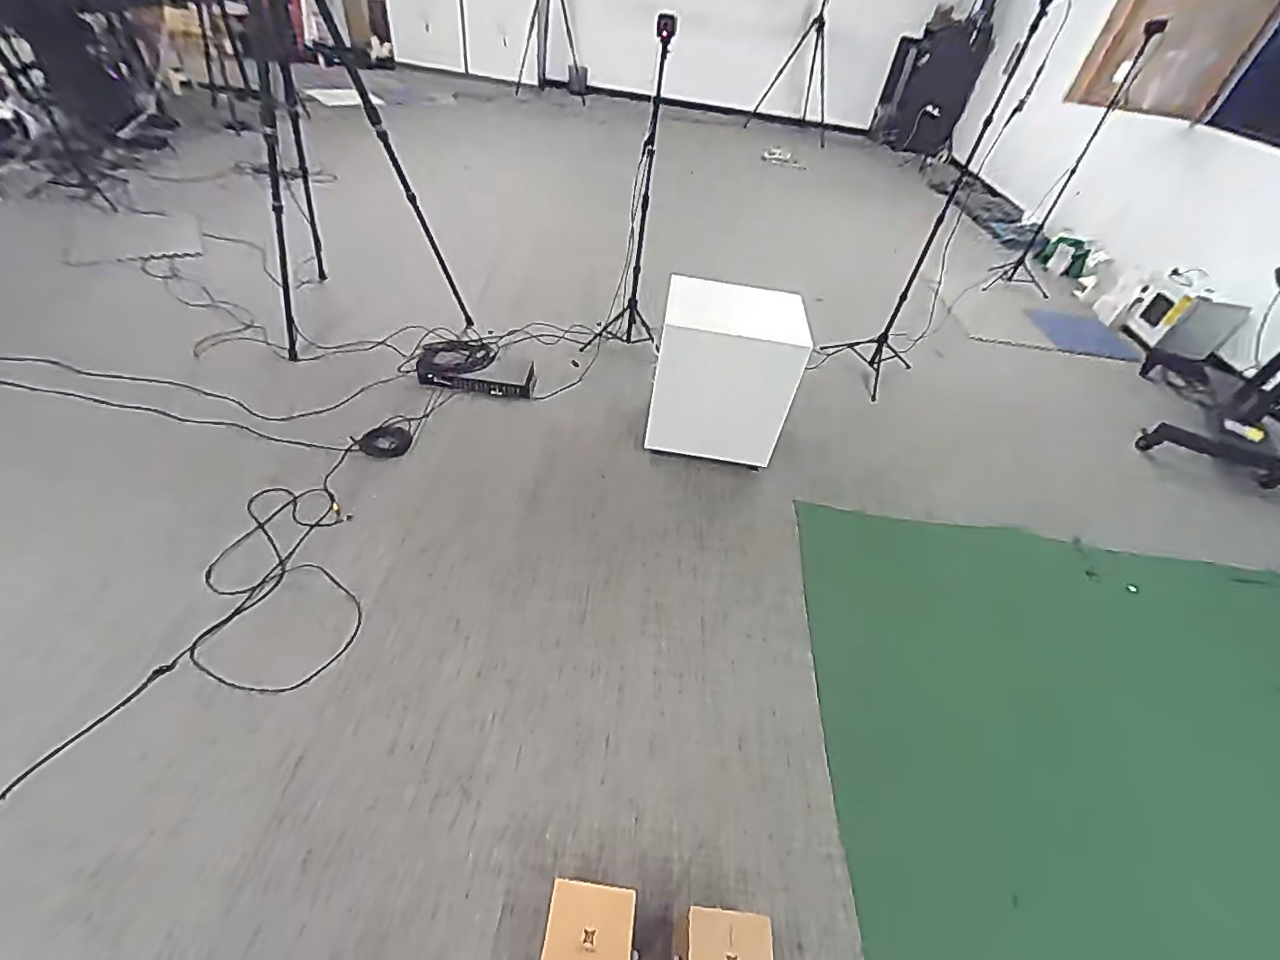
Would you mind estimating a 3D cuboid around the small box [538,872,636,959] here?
[{"bbox_3d":[-0.109,0.906,1.067,0.168,0.176,0.179,10,45,-1],"label":"small box"}]

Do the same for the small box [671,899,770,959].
[{"bbox_3d":[0.155,0.958,1.065,0.168,0.176,0.179,9,44,-1],"label":"small box"}]
